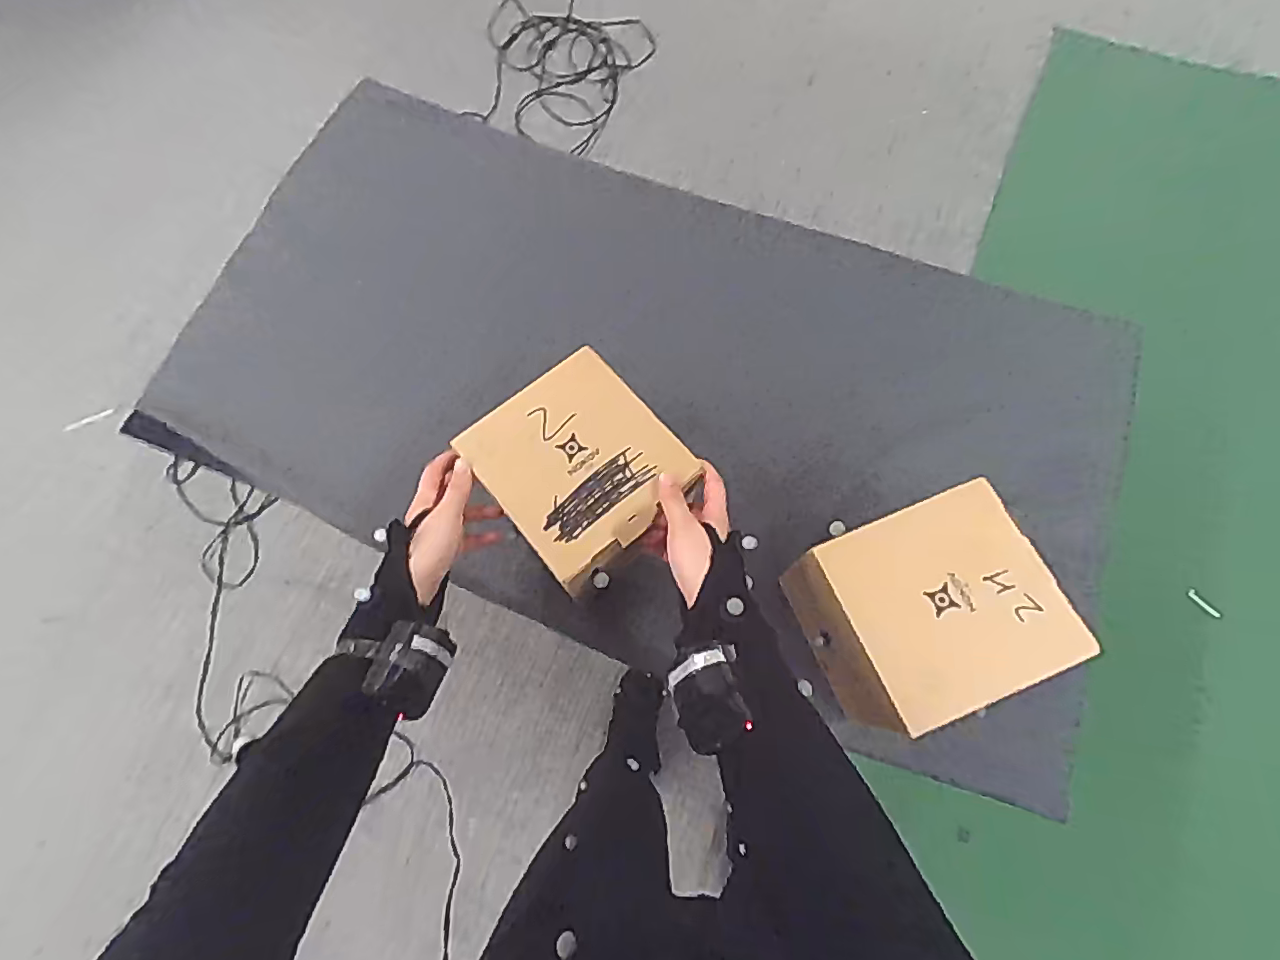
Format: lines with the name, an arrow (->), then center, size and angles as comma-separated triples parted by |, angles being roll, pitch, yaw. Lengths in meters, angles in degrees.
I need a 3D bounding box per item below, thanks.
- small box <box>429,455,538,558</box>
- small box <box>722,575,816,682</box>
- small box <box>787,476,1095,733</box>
small box -> -0.378, 0.073, 1.334 | 0.179, 0.176, 0.168 | -34, 75, -8
small box -> 0.301, 0.336, 1.222 | 0.179, 0.176, 0.168 | 26, 76, 9
small box -> 0.258, 0.124, 0.522 | 0.179, 0.176, 0.168 | -21, 71, -4
